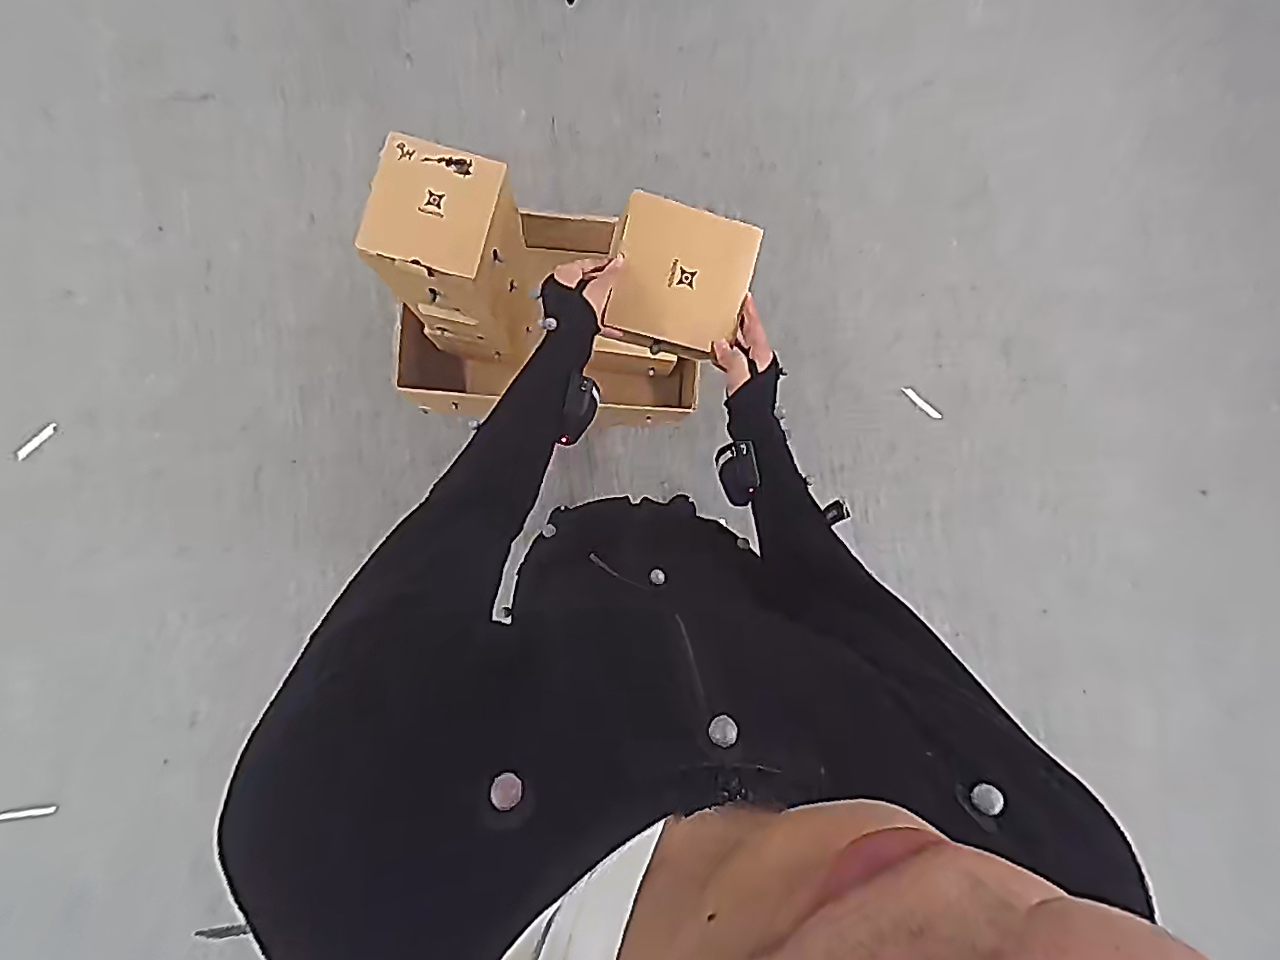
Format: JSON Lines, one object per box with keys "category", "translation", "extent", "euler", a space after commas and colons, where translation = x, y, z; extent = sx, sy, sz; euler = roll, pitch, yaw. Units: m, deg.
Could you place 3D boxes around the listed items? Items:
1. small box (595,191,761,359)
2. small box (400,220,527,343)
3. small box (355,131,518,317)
{"category": "small box", "translation": [0.041, -0.271, 0.755], "extent": [0.179, 0.176, 0.168], "euler": [12, 99, -10]}
{"category": "small box", "translation": [-0.306, -0.365, 0.977], "extent": [0.168, 0.176, 0.179], "euler": [11, 85, -4]}
{"category": "small box", "translation": [-0.290, -0.367, 0.813], "extent": [0.168, 0.176, 0.179], "euler": [15, 86, -4]}
